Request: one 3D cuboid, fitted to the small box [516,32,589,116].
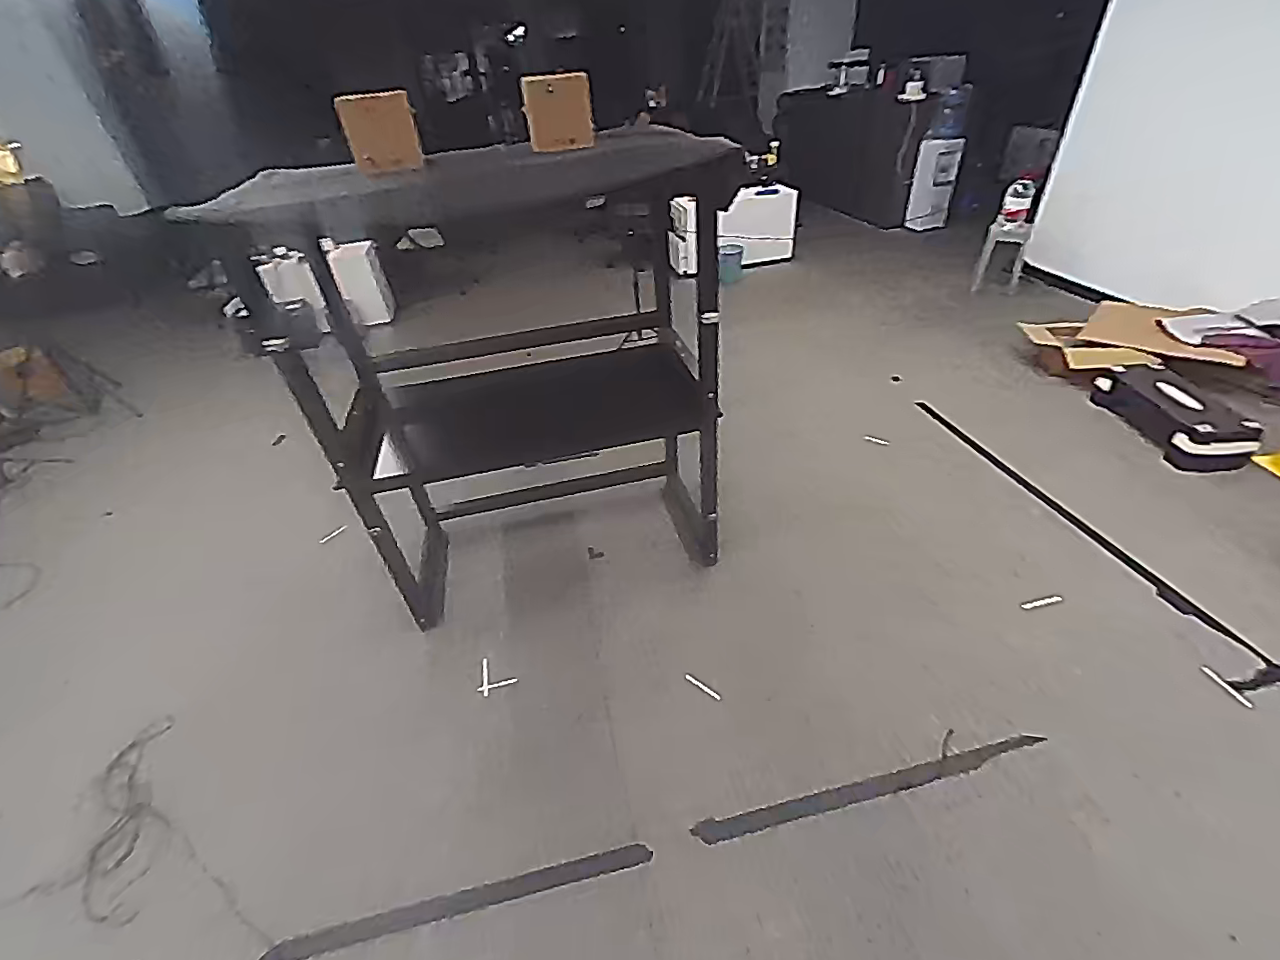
[{"bbox_3d":[-0.238,-1.098,1.466,0.168,0.176,0.179,-11,39,-7],"label":"small box"}]

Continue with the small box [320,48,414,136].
[{"bbox_3d":[-0.695,-1.002,1.399,0.168,0.176,0.179,-14,40,-11],"label":"small box"}]
